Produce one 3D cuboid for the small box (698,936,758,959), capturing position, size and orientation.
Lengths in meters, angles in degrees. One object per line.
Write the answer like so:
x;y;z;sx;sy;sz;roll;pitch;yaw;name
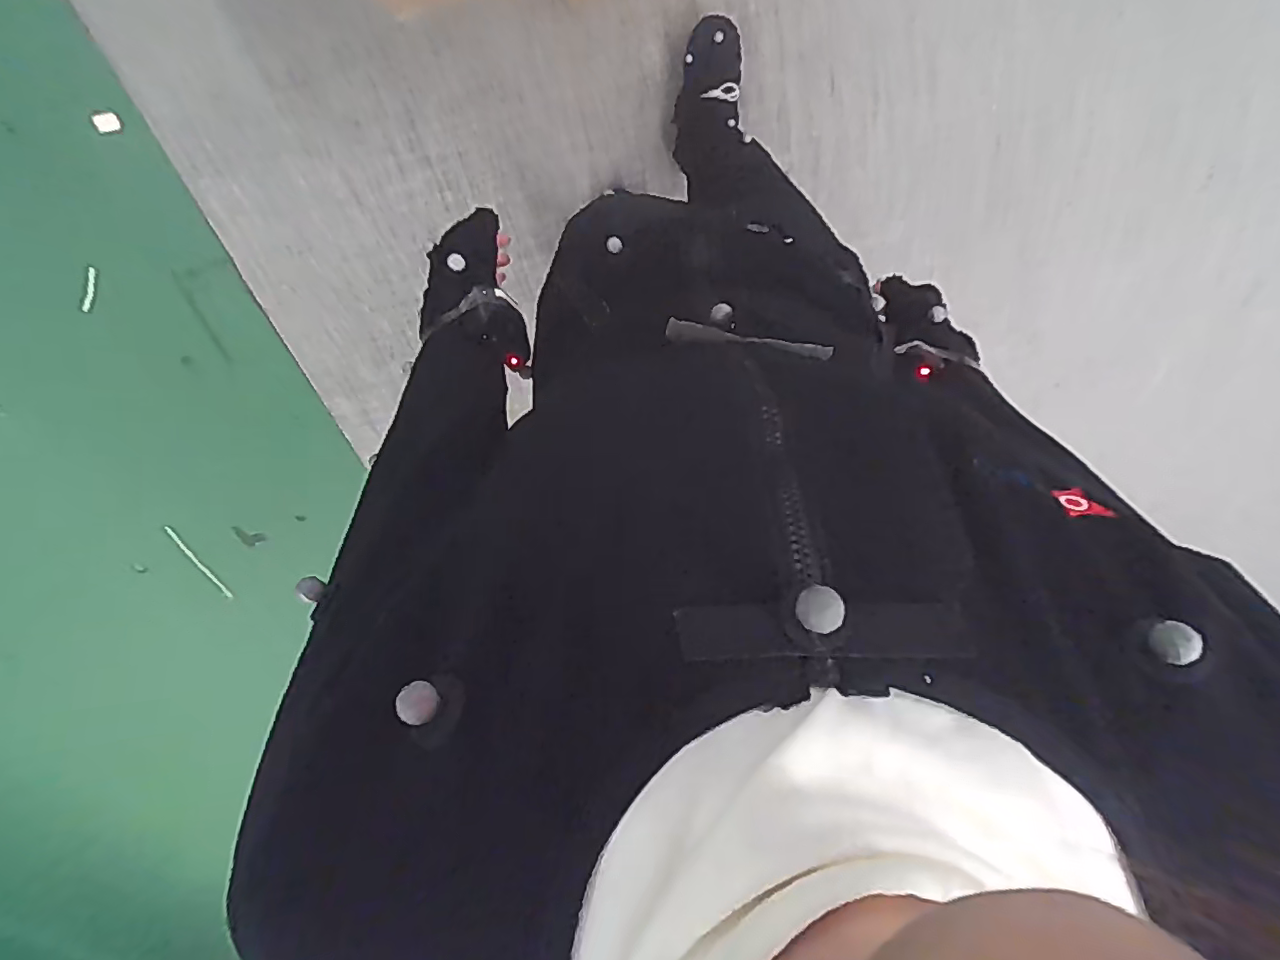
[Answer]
0.285;1.539;1.659;0.168;0.176;0.179;-17;122;6;small box
